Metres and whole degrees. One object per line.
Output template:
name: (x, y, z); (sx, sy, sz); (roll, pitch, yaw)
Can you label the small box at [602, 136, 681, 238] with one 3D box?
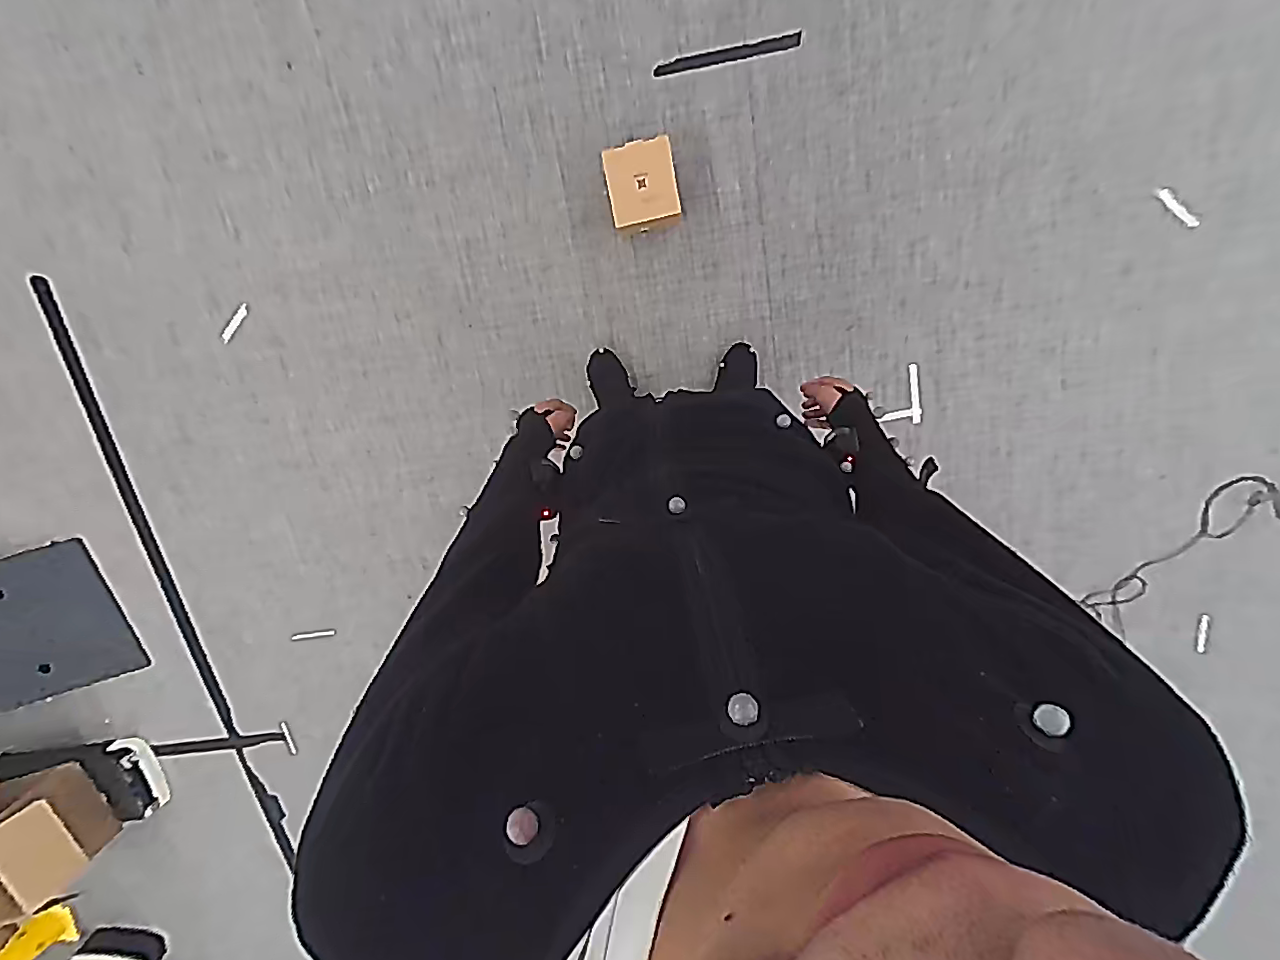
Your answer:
small box: (0.005, -0.733, 1.372); (0.168, 0.176, 0.179); (-11, 105, 5)
